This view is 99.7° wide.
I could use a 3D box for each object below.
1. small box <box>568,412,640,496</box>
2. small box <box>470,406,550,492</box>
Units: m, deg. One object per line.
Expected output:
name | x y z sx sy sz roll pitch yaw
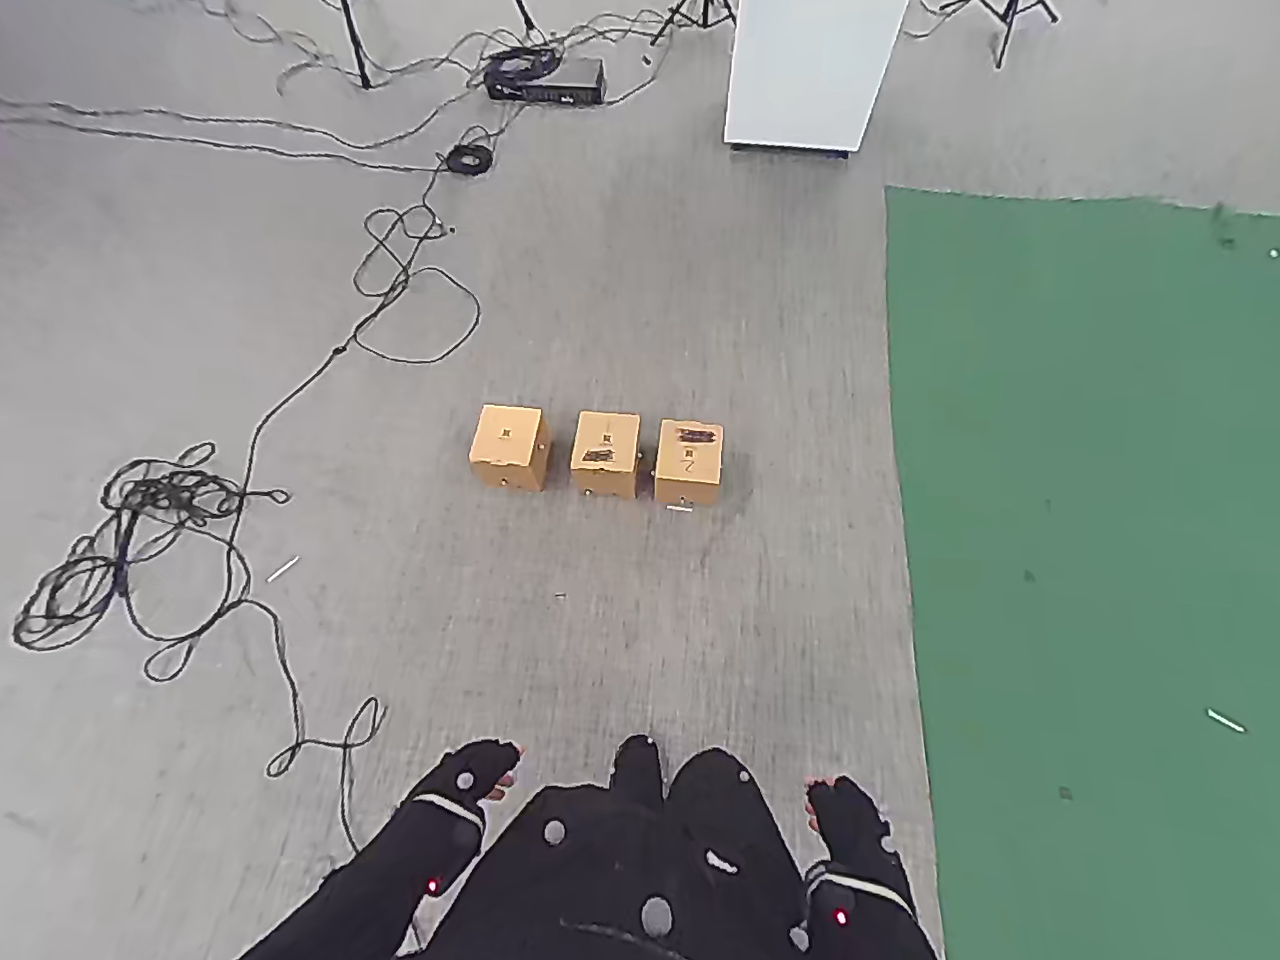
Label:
small box | -0.093 -0.066 1.503 0.168 0.176 0.179 5 64 5
small box | -0.357 -0.085 1.524 0.168 0.176 0.179 5 65 5
